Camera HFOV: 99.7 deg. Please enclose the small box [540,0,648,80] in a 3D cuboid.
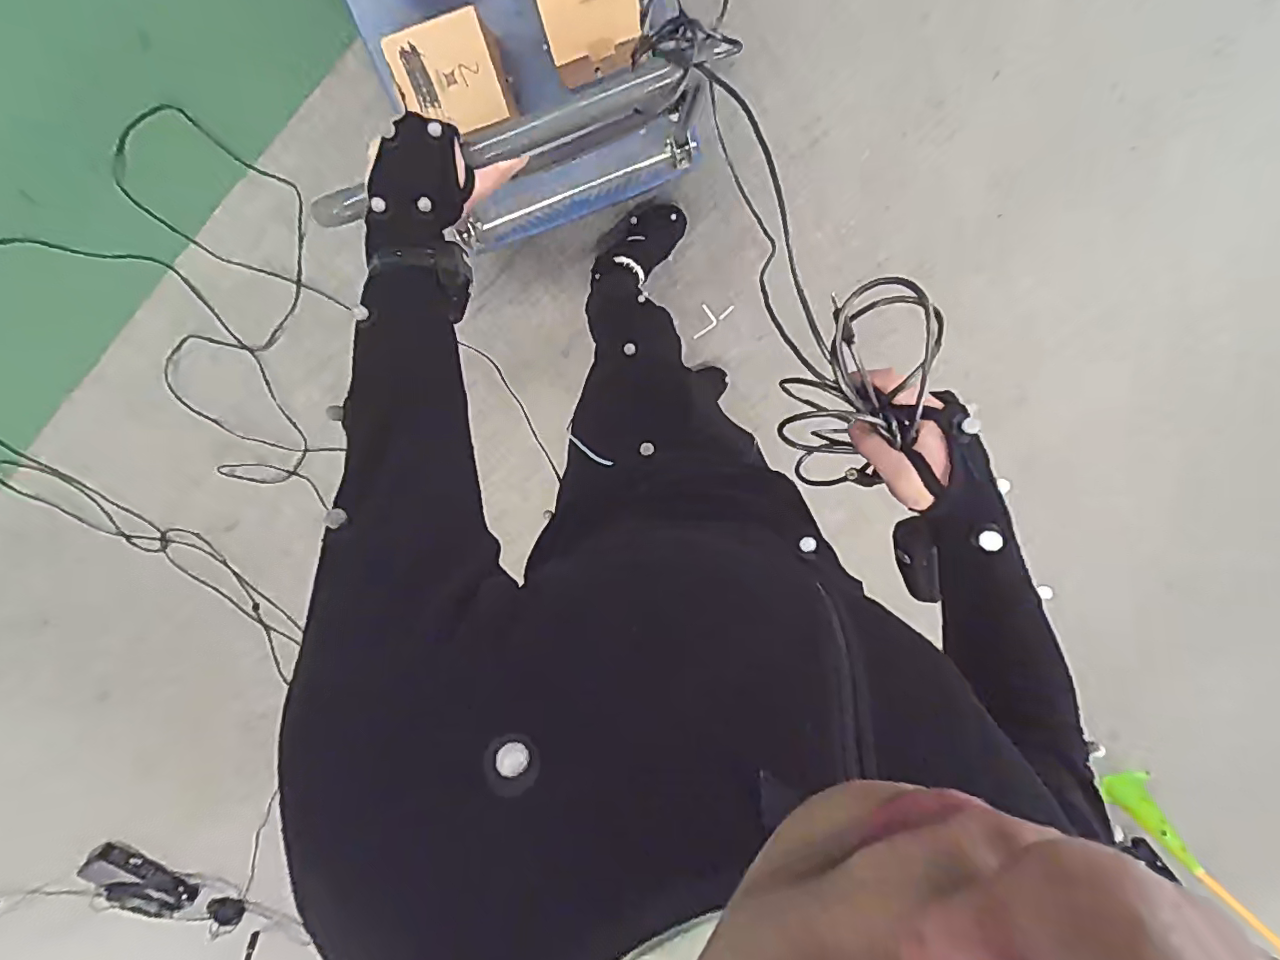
[{"bbox_3d":[-0.090,-0.849,0.956,0.168,0.176,0.179,-16,117,7],"label":"small box"}]
